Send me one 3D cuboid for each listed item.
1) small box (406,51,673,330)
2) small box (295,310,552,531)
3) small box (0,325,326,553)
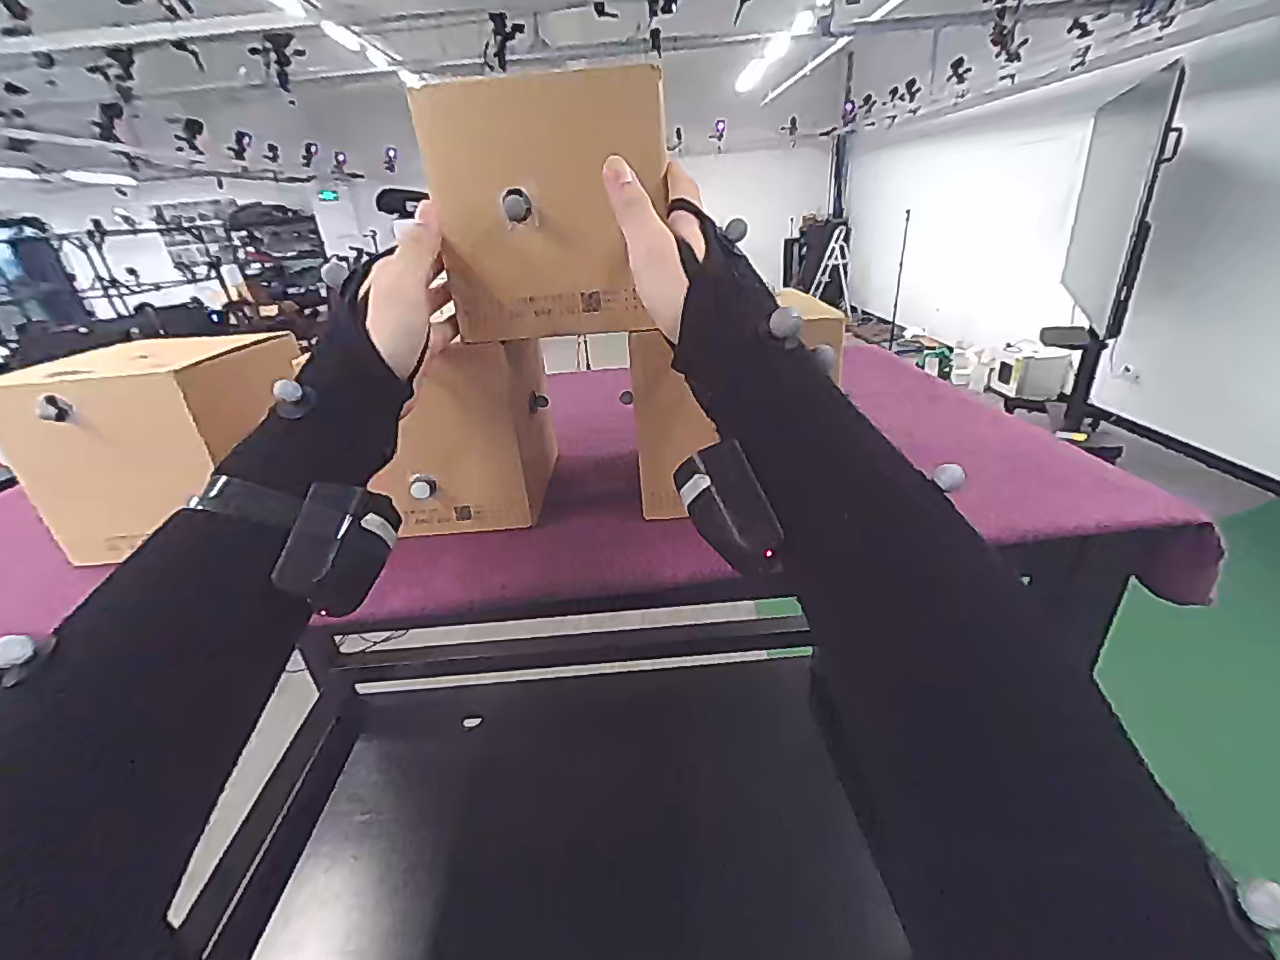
[{"bbox_3d":[-0.061,-0.222,0.450,0.168,0.176,0.179,-4,25,3],"label":"small box"},{"bbox_3d":[-0.184,-0.067,0.525,0.168,0.176,0.179,-4,26,1],"label":"small box"},{"bbox_3d":[-0.437,-0.047,0.523,0.168,0.176,0.179,-5,24,0],"label":"small box"}]
